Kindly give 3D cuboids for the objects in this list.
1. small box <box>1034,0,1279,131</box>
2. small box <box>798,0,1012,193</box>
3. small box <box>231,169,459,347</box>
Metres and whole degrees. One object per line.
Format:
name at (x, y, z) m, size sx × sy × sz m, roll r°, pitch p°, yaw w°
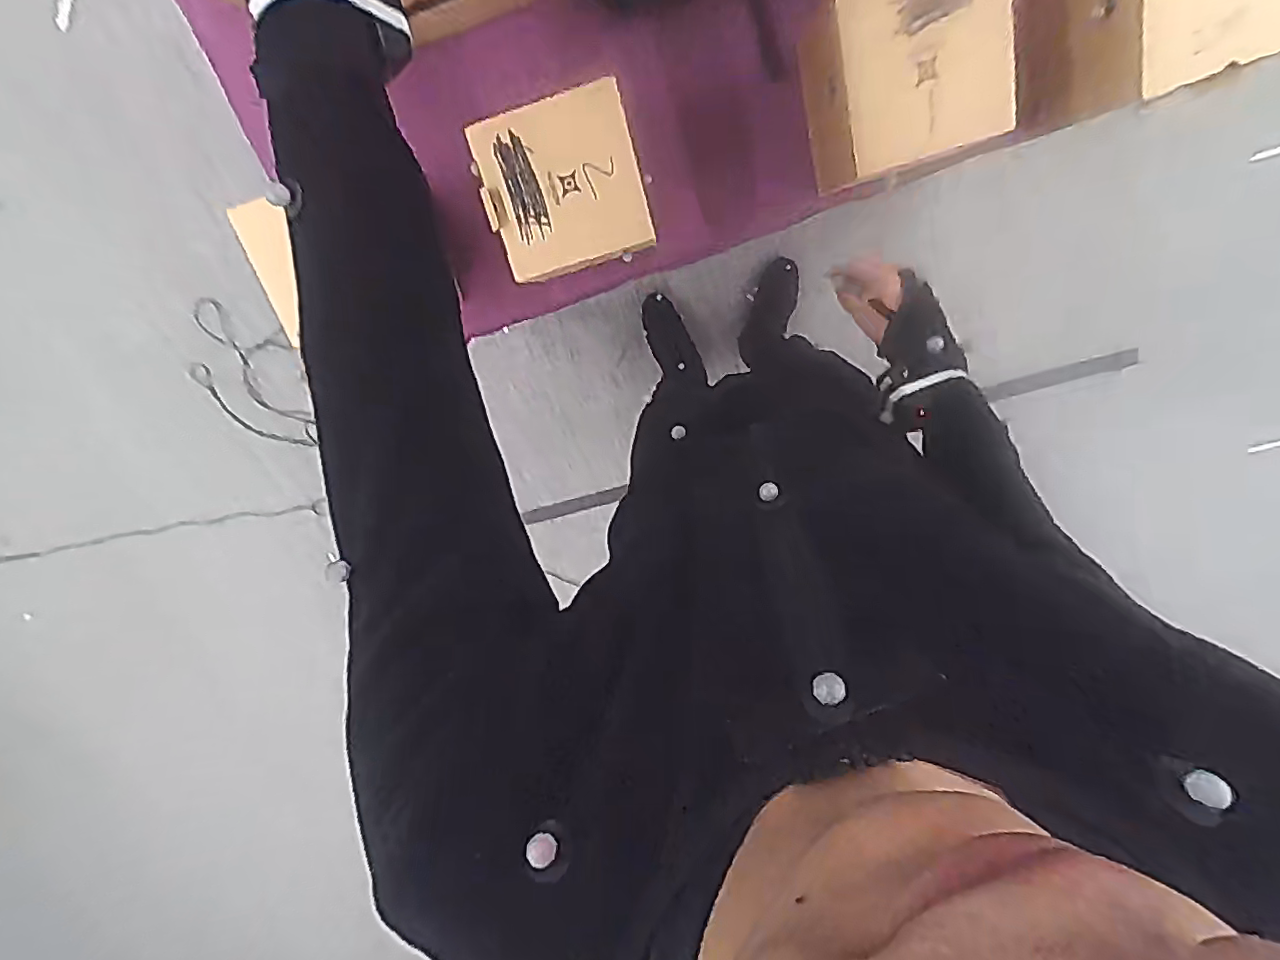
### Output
small box at (0.562, -0.517, 0.584) m, size 0.168 × 0.176 × 0.179 m, roll -16°, pitch 109°, yaw 10°
small box at (0.292, -0.456, 0.624) m, size 0.168 × 0.176 × 0.179 m, roll -14°, pitch 110°, yaw 9°
small box at (-0.374, -0.287, 0.723) m, size 0.179 × 0.176 × 0.168 m, roll -14°, pitch 110°, yaw 7°
